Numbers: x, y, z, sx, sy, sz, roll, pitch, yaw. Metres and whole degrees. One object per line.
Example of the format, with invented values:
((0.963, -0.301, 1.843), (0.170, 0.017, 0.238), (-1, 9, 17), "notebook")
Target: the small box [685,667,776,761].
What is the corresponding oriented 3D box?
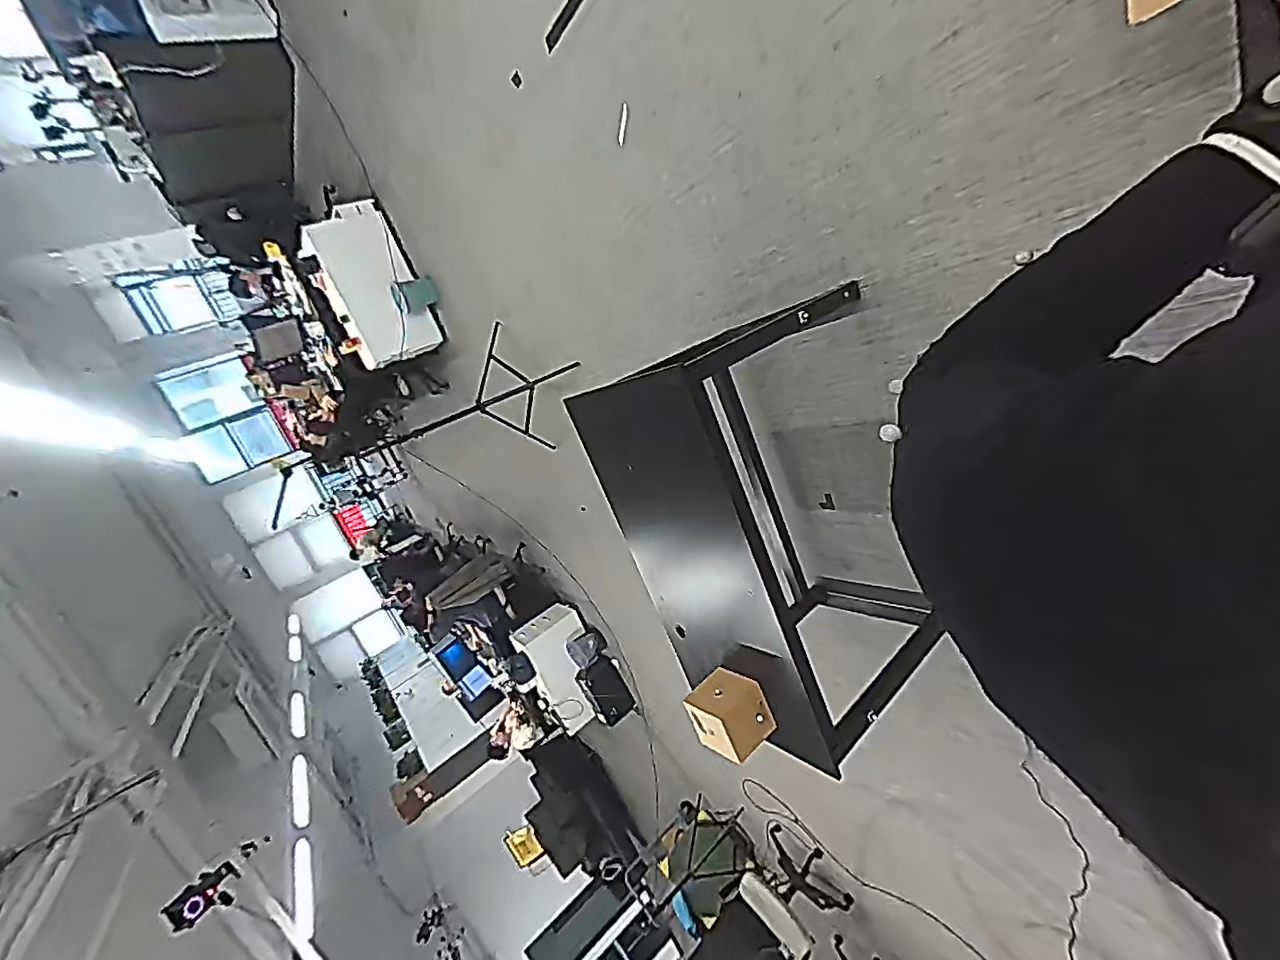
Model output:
((0.272, 0.690, 1.620), (0.179, 0.176, 0.168), (-4, 113, 57), "small box")
